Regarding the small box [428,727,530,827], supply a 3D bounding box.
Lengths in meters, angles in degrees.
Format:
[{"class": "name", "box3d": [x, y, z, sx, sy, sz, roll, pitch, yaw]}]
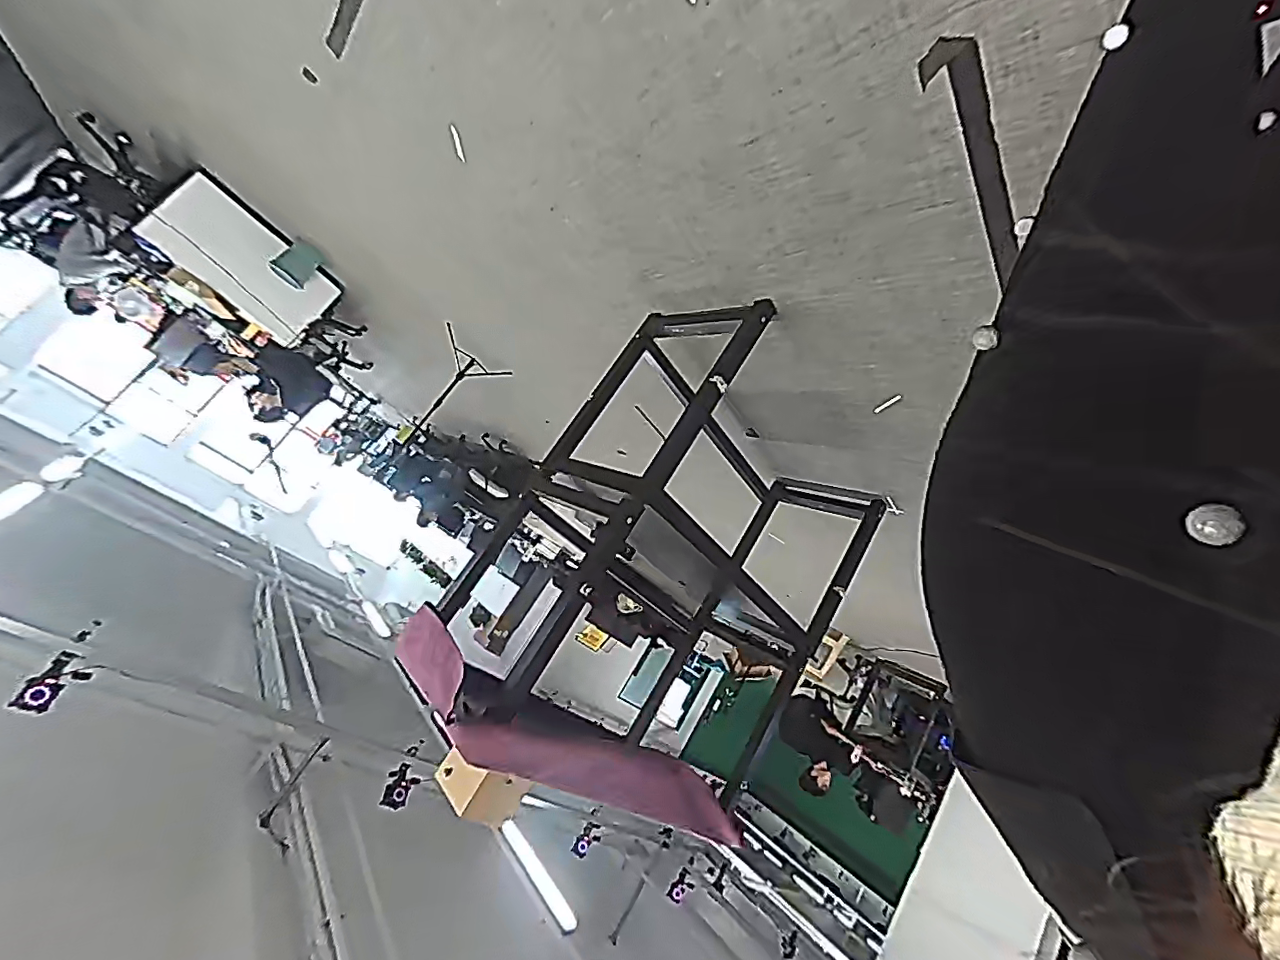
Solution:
[{"class": "small box", "box3d": [-0.429, 0.791, 1.459, 0.179, 0.176, 0.168, 17, 159, 47]}]
